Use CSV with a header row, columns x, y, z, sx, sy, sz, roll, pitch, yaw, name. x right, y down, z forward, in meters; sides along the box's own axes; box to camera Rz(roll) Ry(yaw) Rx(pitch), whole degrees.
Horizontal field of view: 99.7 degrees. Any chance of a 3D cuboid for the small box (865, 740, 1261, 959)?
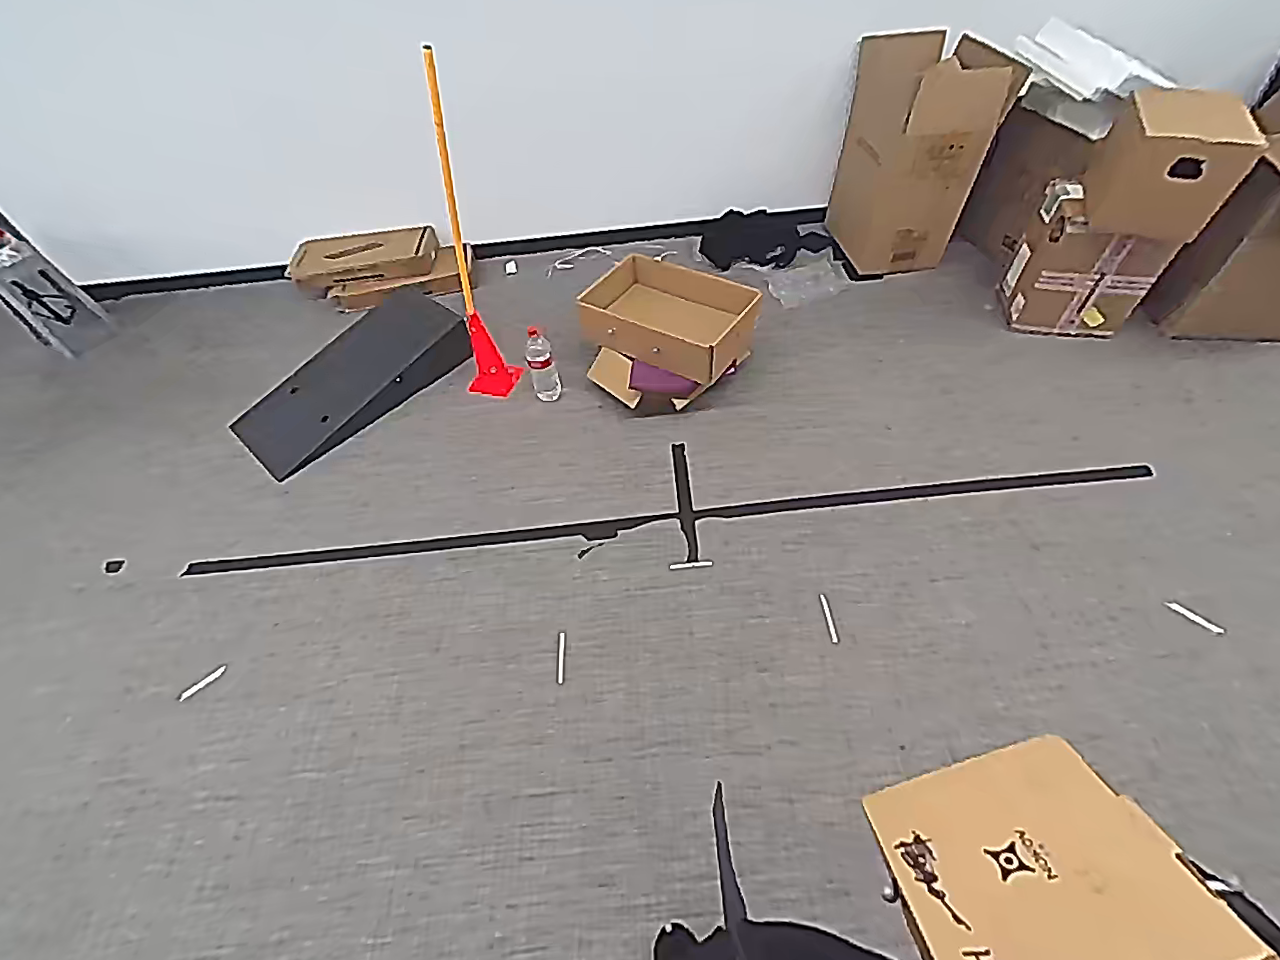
x,y,z,sx,sy,sz,roll,pitch,yaw,name
0.308,0.349,0.420,0.179,0.176,0.168,-22,17,6,small box
